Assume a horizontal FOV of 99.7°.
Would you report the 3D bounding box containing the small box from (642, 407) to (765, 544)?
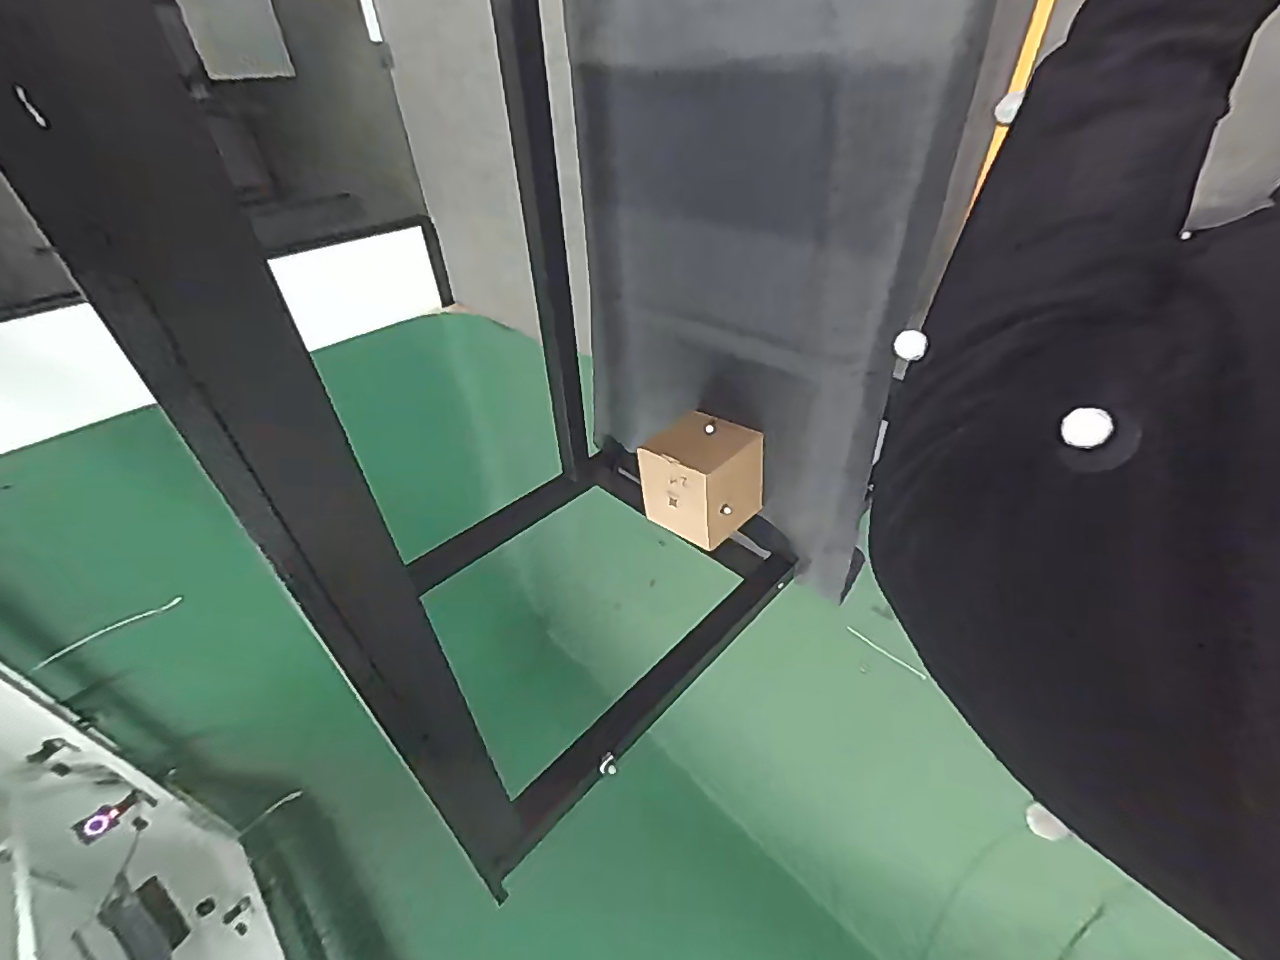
[{"bbox_3d":[0.127,-0.015,1.043,0.168,0.176,0.179,26,136,39],"label":"small box"}]
